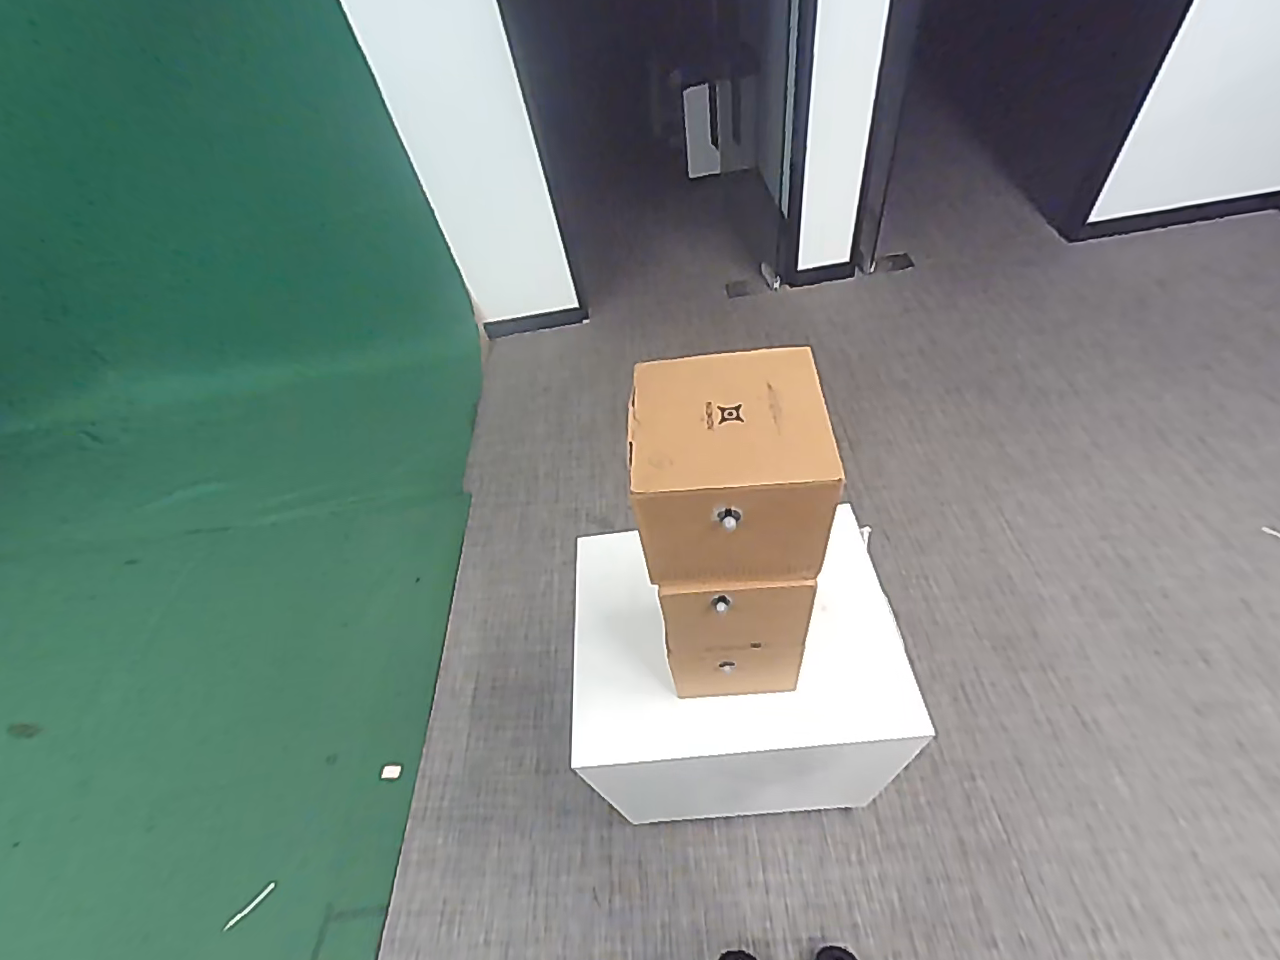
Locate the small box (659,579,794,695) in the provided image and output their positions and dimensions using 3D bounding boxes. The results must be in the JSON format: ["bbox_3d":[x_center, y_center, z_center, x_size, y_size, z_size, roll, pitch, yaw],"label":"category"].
[{"bbox_3d":[0.126,0.208,0.800,0.179,0.176,0.168,-6,50,6],"label":"small box"}]

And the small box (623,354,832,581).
[{"bbox_3d":[0.084,-0.006,0.557,0.179,0.176,0.168,-4,52,6],"label":"small box"}]

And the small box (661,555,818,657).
[{"bbox_3d":[0.111,0.102,0.680,0.168,0.176,0.179,-6,50,4],"label":"small box"}]
